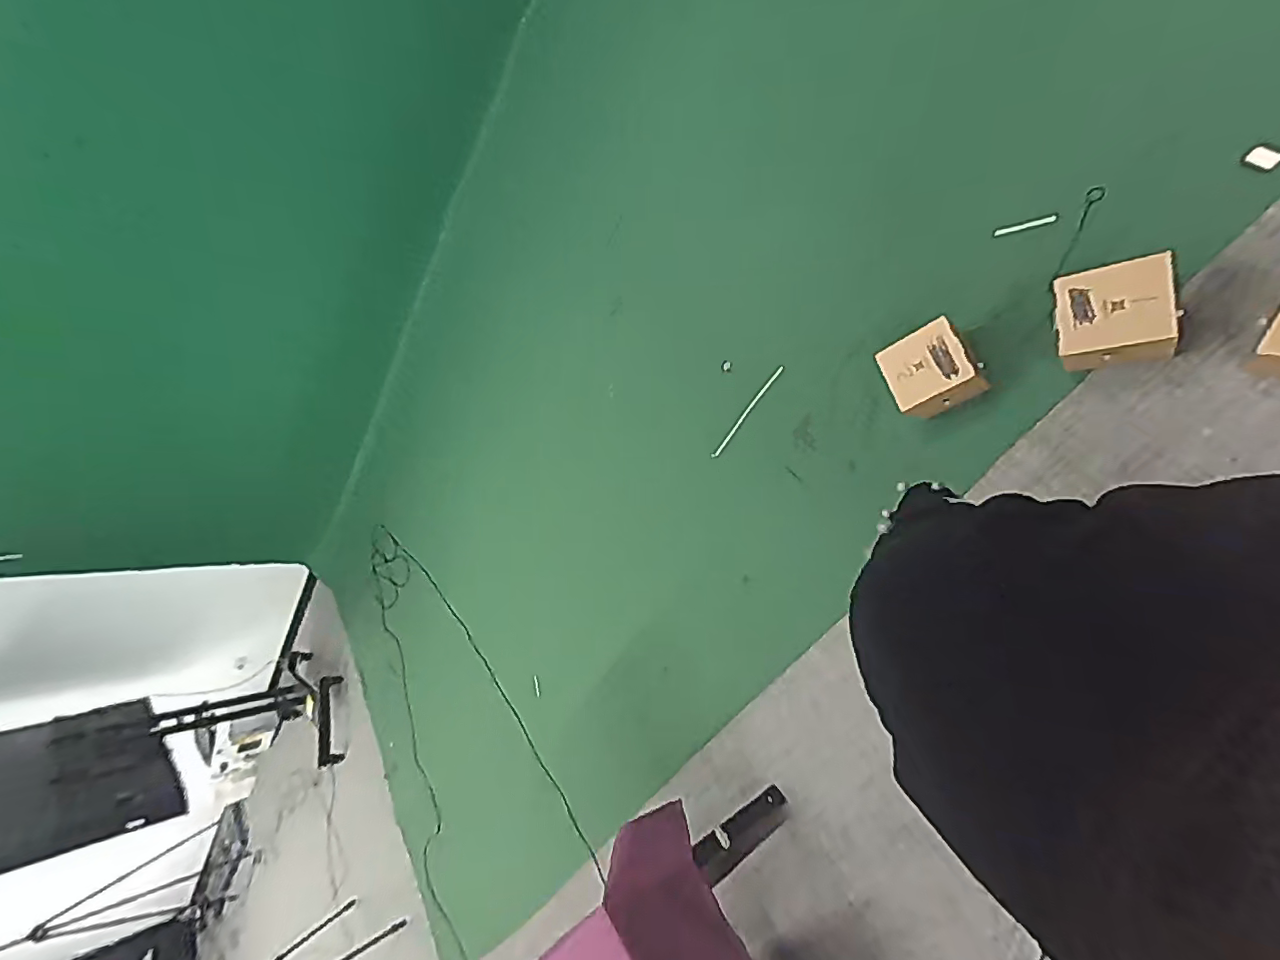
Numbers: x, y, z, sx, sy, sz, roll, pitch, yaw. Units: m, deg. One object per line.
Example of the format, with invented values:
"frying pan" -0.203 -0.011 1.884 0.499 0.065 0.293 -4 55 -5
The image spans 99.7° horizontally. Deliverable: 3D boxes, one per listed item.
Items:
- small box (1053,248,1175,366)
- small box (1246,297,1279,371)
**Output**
"small box" 0.976 -0.344 1.115 0.179 0.176 0.168 -4 84 42
"small box" 1.187 -0.271 0.916 0.168 0.176 0.179 31 108 40
